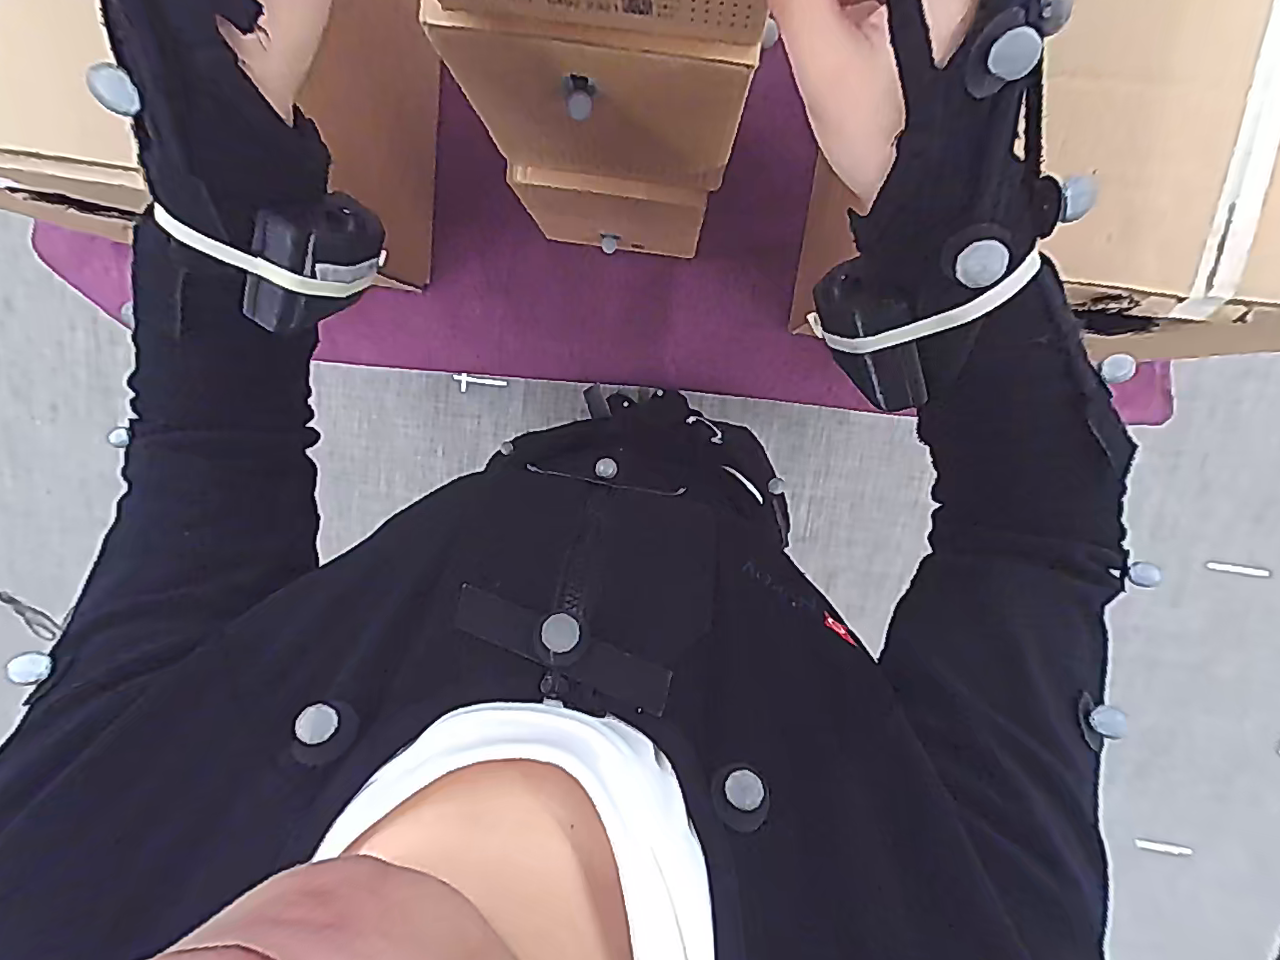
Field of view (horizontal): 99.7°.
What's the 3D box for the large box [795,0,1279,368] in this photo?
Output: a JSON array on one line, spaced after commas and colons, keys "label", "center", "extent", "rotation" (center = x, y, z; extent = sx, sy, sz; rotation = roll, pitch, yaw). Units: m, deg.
[{"label": "large box", "center": [0.332, -0.313, 0.425], "extent": [0.320, 0.320, 0.408], "rotation": [7, 98, 1]}]
